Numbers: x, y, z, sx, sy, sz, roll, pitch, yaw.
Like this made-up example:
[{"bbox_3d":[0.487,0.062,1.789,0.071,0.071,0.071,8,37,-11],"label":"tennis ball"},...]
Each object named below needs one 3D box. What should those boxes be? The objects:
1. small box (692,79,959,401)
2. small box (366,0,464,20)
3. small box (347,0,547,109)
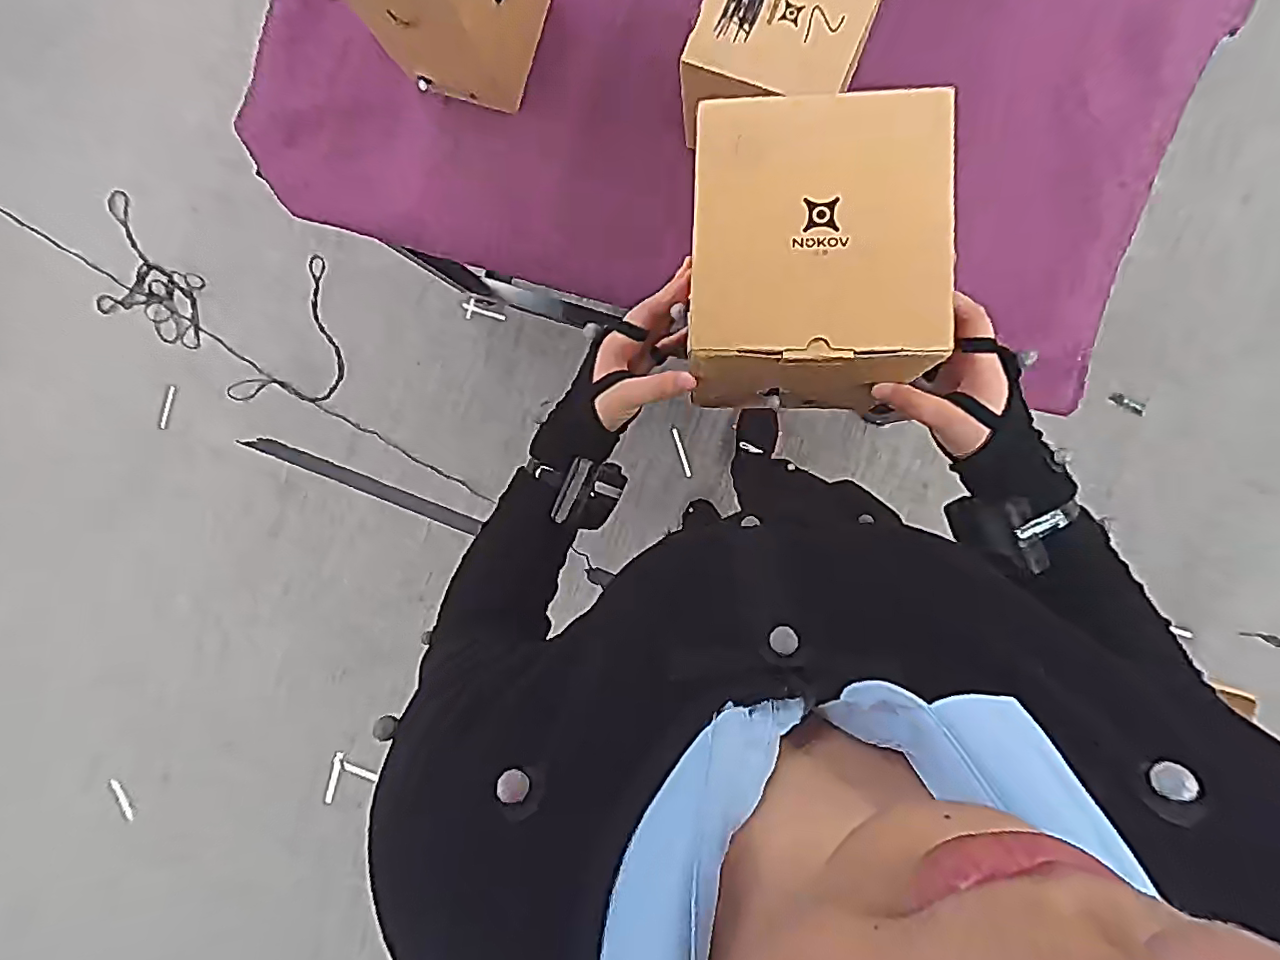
[{"bbox_3d":[0.127,-0.168,0.428,0.168,0.176,0.179,1,87,6],"label":"small box"},{"bbox_3d":[-0.263,-0.612,0.535,0.179,0.176,0.168,19,95,6],"label":"small box"},{"bbox_3d":[-0.236,-0.628,0.697,0.168,0.176,0.179,19,95,6],"label":"small box"}]
